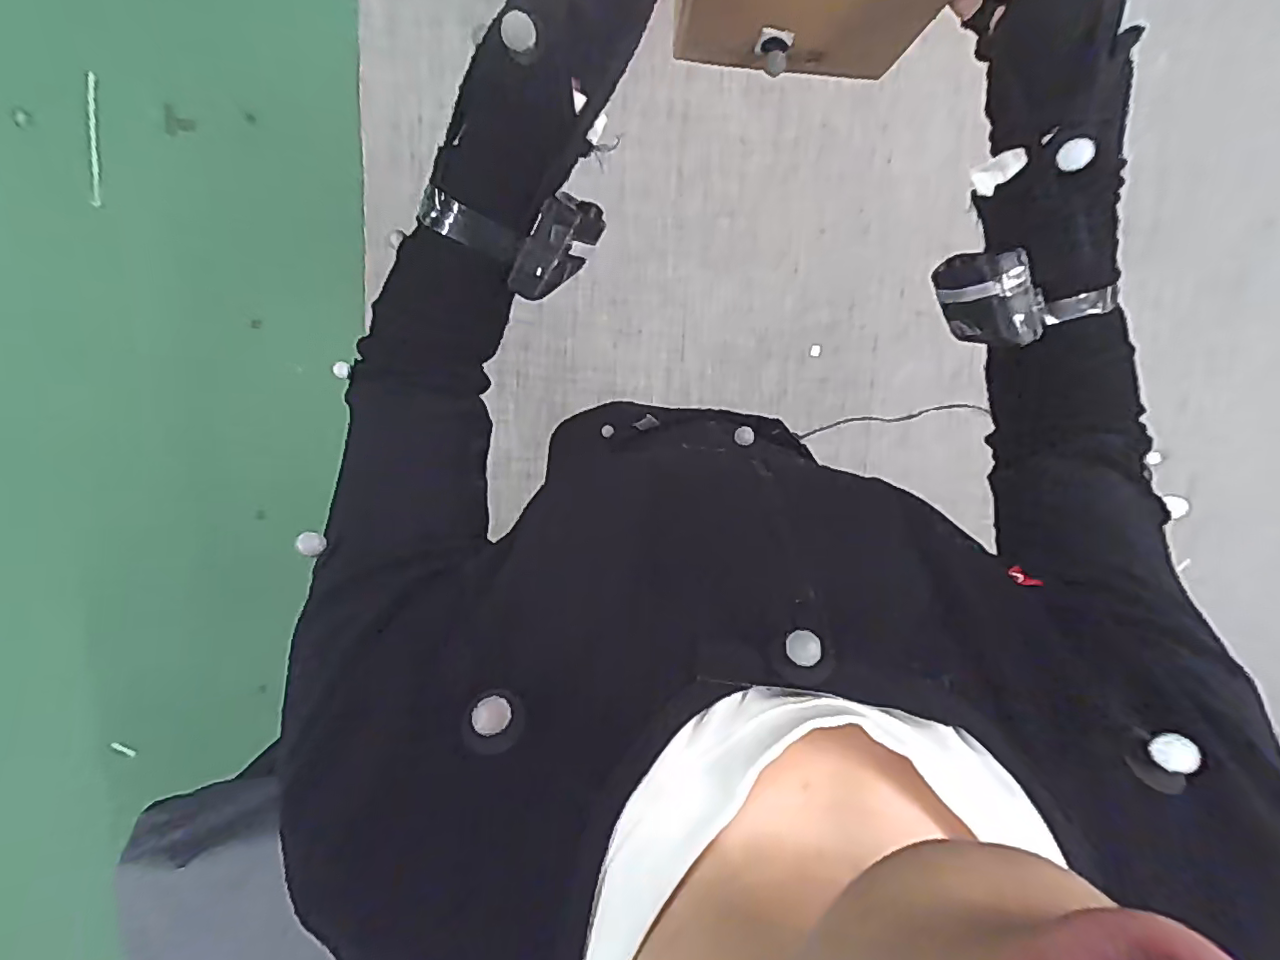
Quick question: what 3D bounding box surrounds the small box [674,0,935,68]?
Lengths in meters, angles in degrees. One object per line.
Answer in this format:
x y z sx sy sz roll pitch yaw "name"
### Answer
0.114 -0.390 0.317 0.168 0.176 0.179 3 103 -3 "small box"
